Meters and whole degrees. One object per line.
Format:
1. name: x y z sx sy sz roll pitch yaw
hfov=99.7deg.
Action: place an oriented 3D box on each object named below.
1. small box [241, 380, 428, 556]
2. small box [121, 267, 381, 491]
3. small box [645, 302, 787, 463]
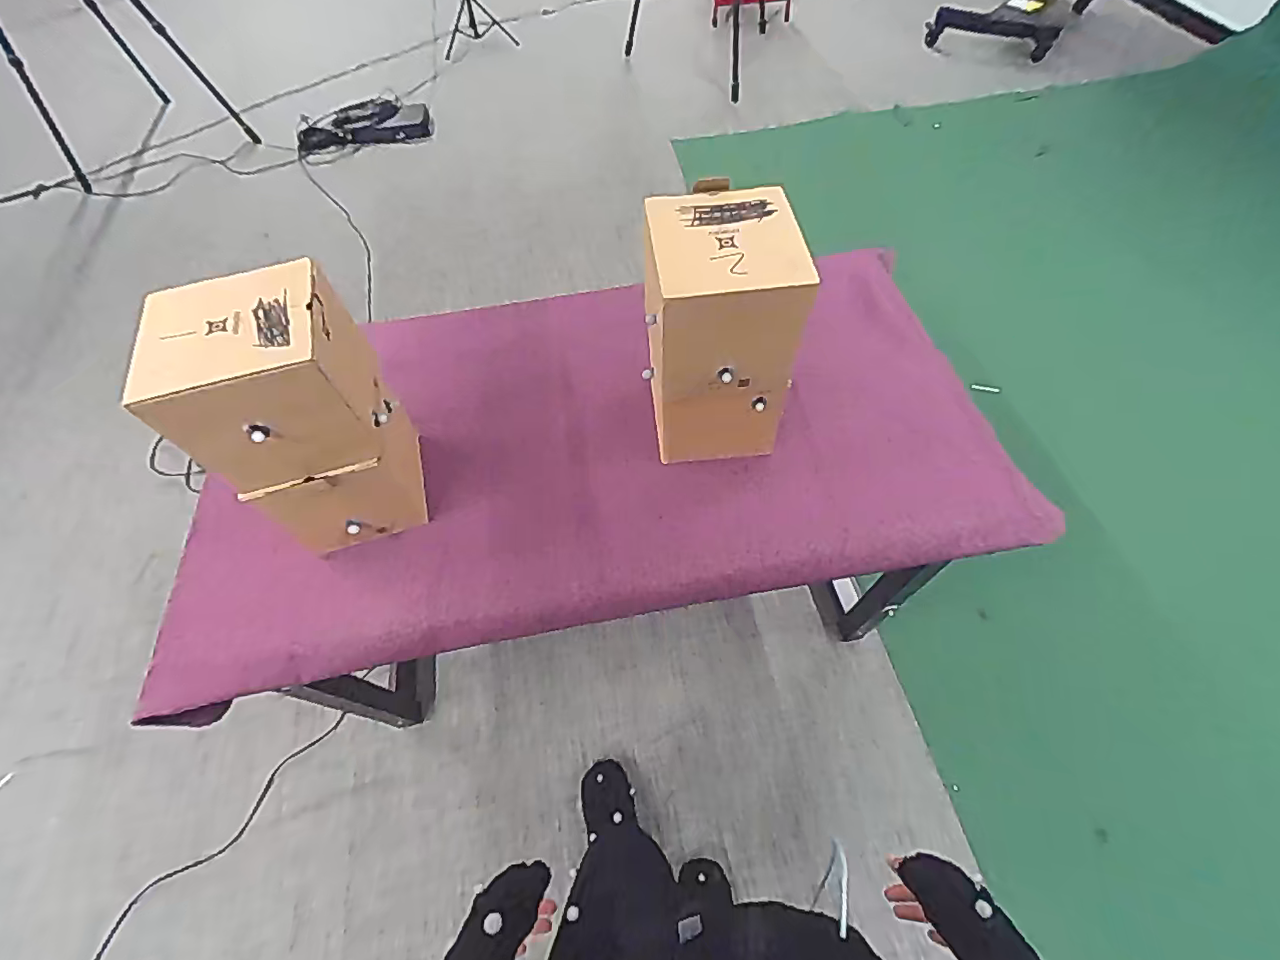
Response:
1. small box: -0.416 -0.019 0.763 0.168 0.176 0.179 -16 59 -6
2. small box: -0.419 -0.111 0.623 0.179 0.176 0.168 -14 57 -6
3. small box: 0.105 -0.139 0.808 0.179 0.176 0.168 -6 59 0
